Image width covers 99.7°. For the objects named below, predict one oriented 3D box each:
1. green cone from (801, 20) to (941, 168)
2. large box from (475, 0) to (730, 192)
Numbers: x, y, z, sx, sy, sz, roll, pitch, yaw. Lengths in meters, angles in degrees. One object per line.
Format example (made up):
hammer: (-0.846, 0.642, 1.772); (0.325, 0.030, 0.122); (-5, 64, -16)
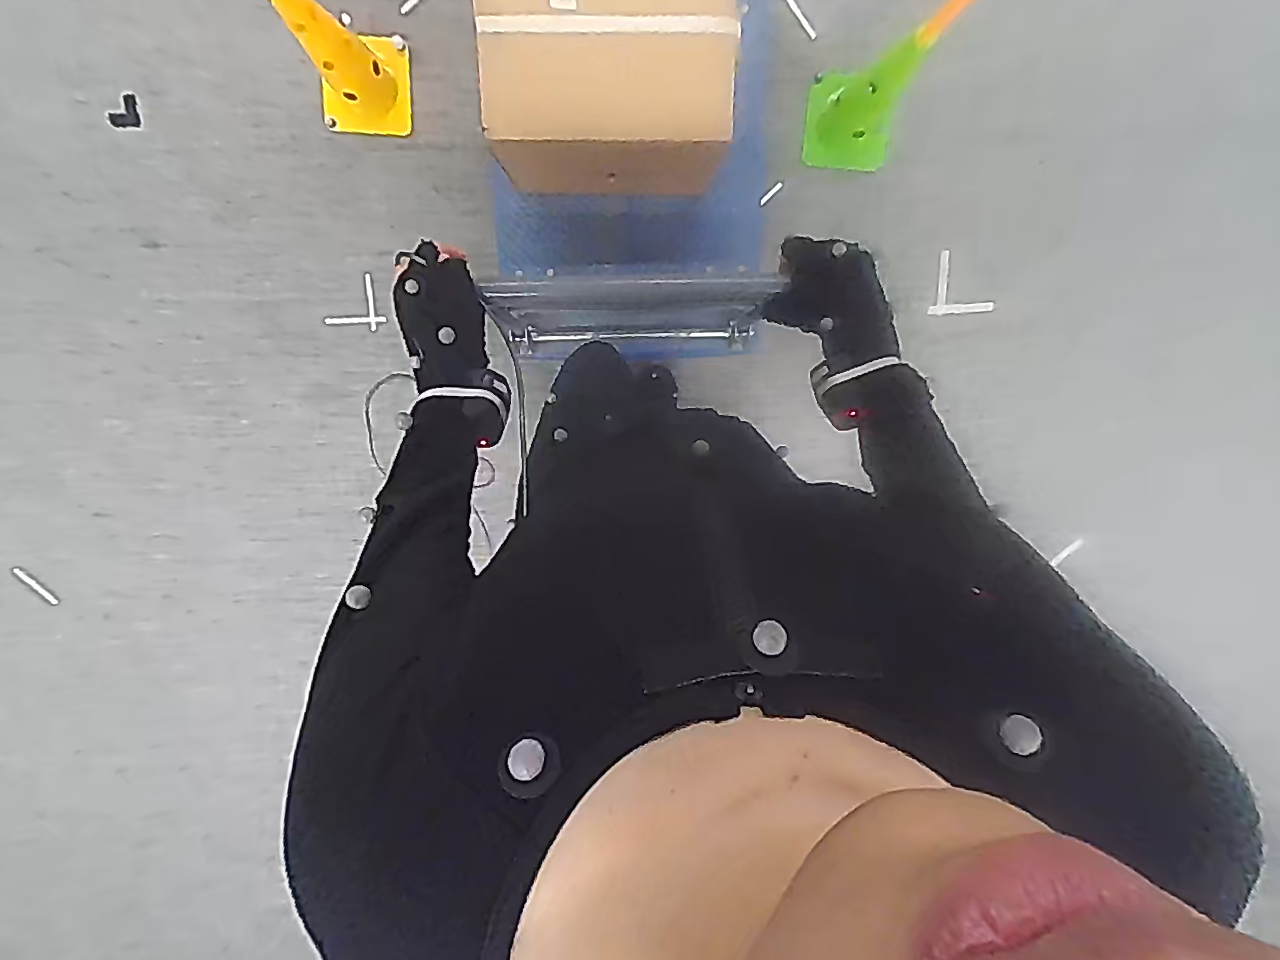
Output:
green cone: (0.501, -0.827, 1.131); (0.202, 0.368, 0.200); (3, 103, -4)
large box: (-0.057, -0.733, 0.988); (0.408, 0.320, 0.320); (-1, 103, -1)
